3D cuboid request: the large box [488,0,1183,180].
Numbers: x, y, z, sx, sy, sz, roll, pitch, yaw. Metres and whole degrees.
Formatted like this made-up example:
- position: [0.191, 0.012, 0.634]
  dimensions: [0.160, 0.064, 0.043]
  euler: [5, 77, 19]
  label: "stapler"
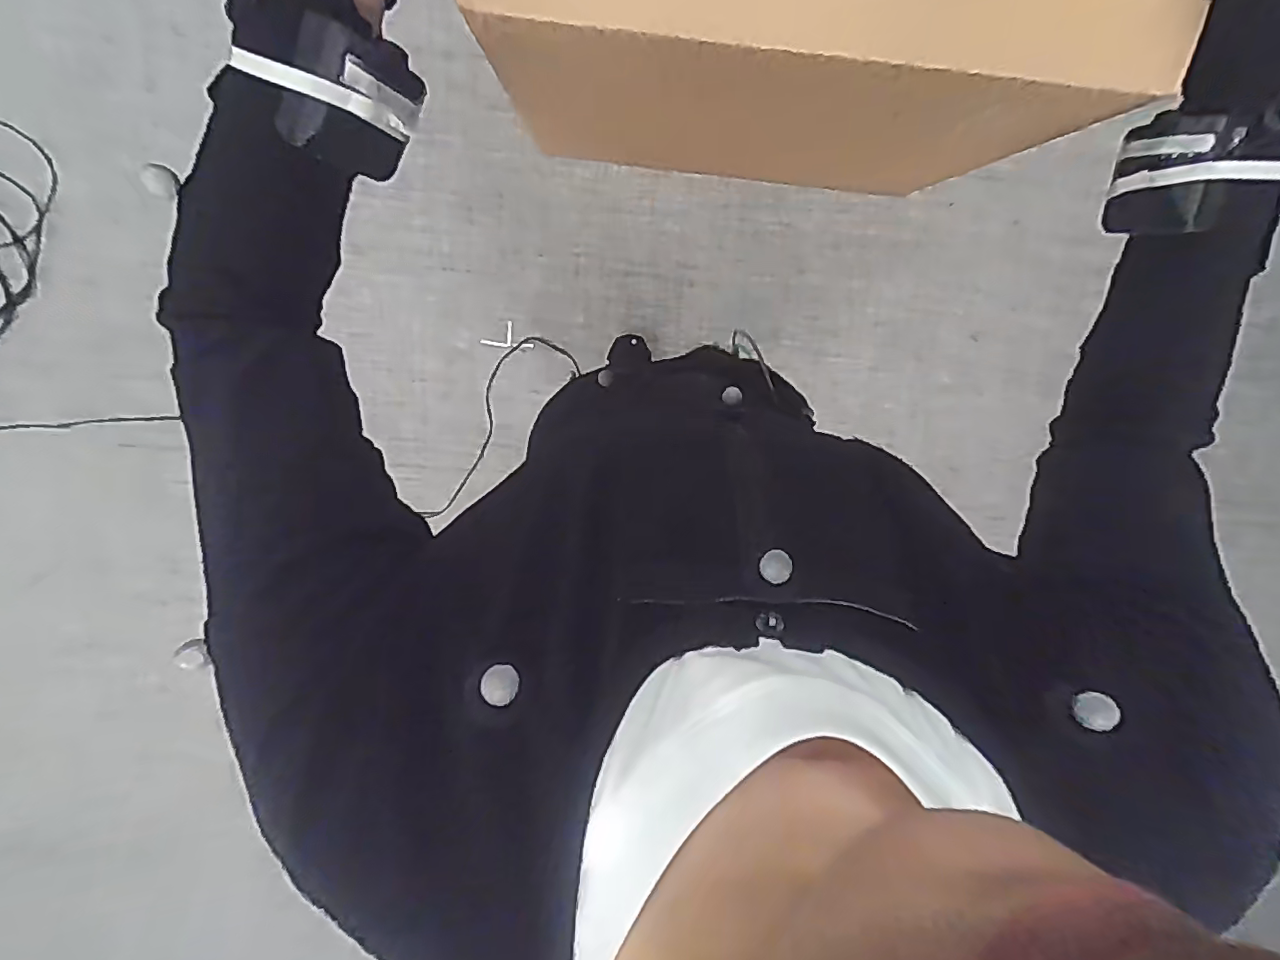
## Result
- position: [0.112, -0.439, 0.401]
  dimensions: [0.408, 0.320, 0.320]
  euler: [4, 109, -4]
  label: "large box"
